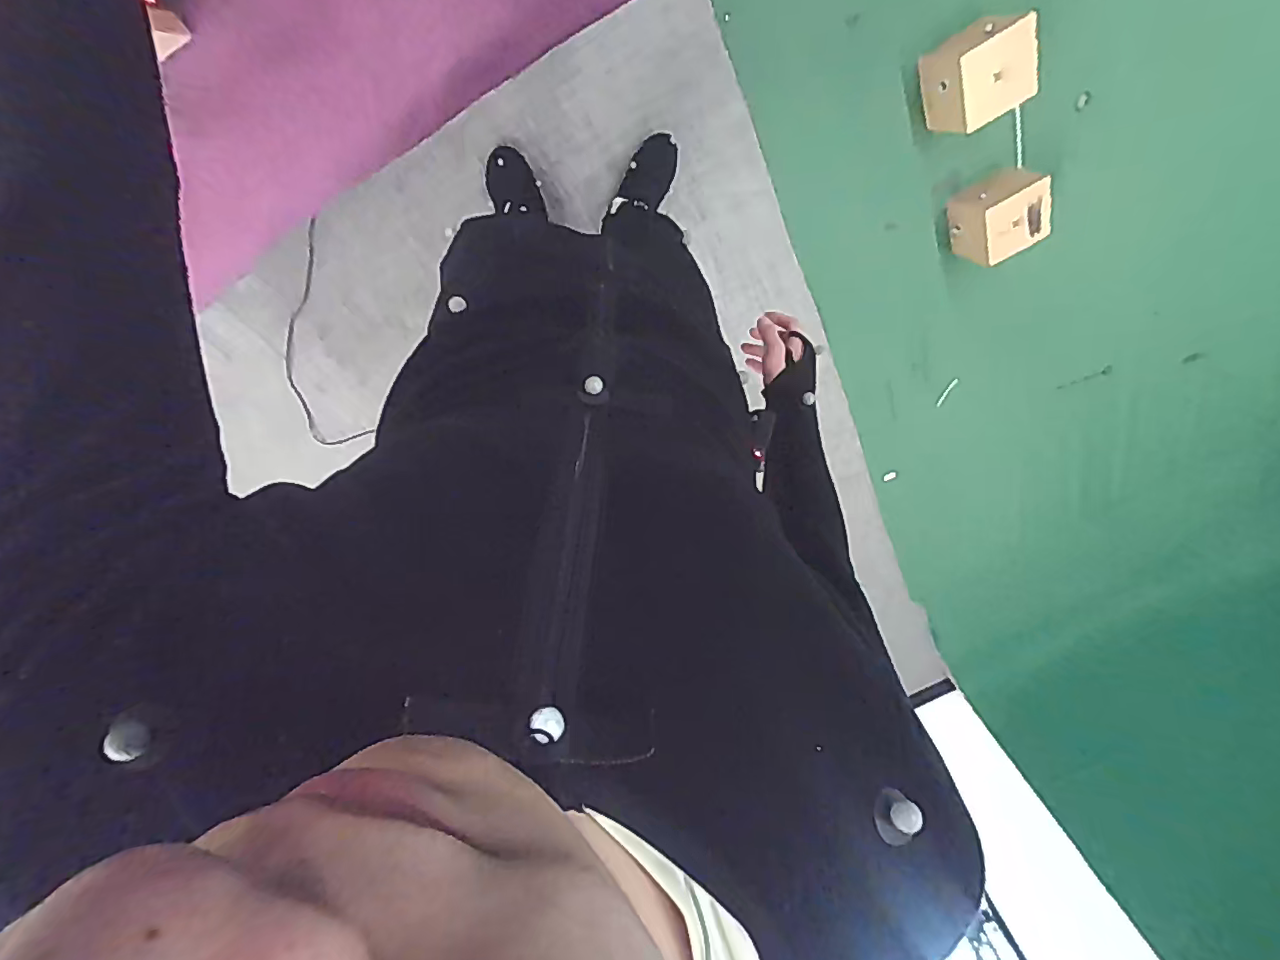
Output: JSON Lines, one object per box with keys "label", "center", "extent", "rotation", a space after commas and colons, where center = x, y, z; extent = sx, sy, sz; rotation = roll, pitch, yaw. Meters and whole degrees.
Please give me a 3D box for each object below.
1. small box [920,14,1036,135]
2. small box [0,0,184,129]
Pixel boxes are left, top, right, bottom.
{"label": "small box", "center": [0.792, -0.953, 1.283], "extent": [0.179, 0.176, 0.168], "rotation": [-29, 127, 8]}
{"label": "small box", "center": [-0.542, -0.412, 0.439], "extent": [0.168, 0.176, 0.179], "rotation": [-28, 128, 8]}
